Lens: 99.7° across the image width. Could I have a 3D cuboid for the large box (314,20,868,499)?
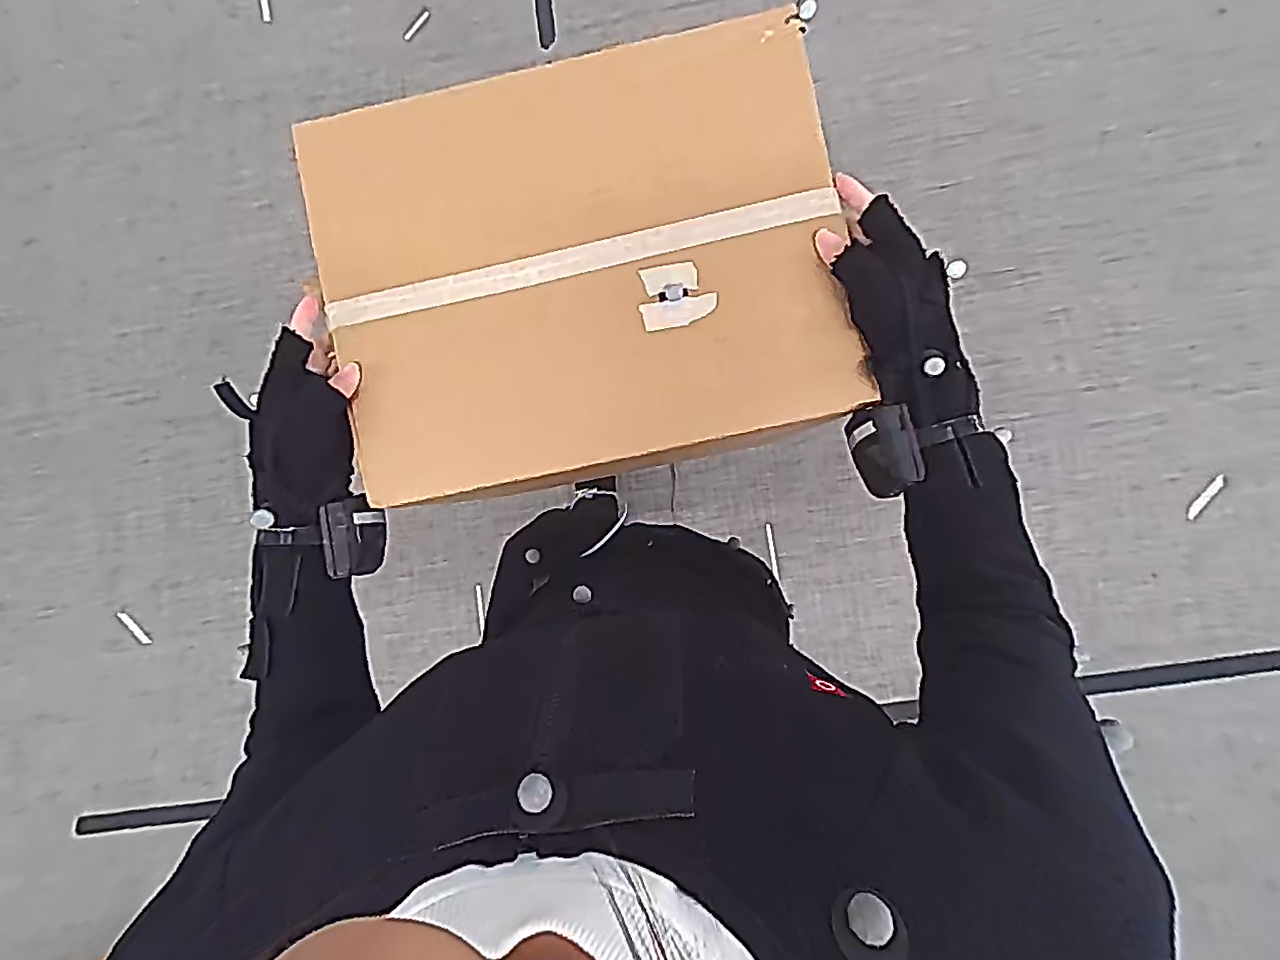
[{"bbox_3d":[-0.041,-0.174,0.581,0.408,0.320,0.320,-12,90,1],"label":"large box"}]
